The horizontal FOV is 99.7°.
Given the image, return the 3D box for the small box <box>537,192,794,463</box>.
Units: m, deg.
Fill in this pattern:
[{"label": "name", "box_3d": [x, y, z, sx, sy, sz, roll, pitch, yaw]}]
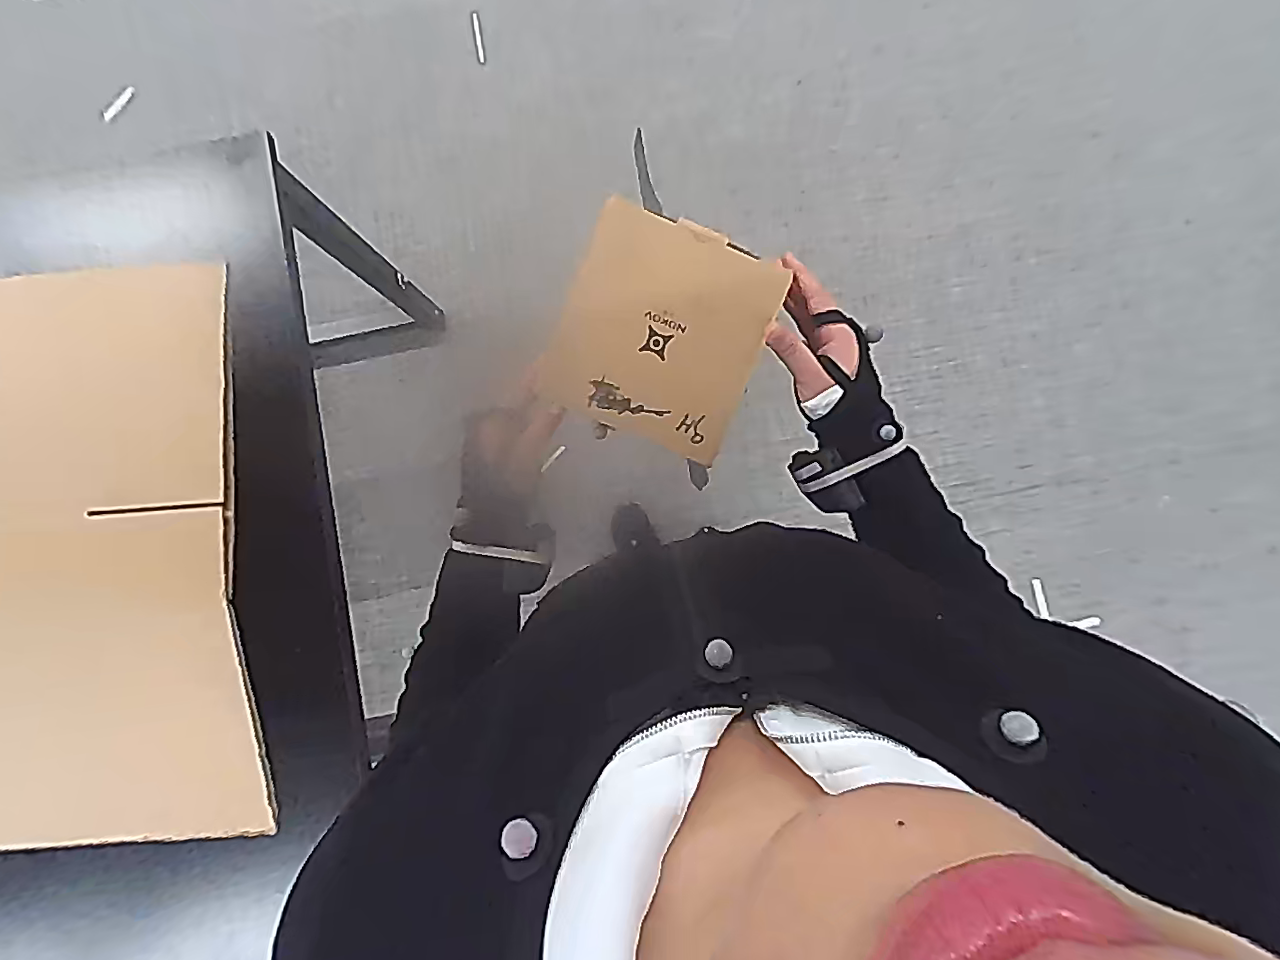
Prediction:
[{"label": "small box", "box_3d": [0.020, -0.131, 0.526, 0.168, 0.176, 0.179, 23, 95, -1]}]
